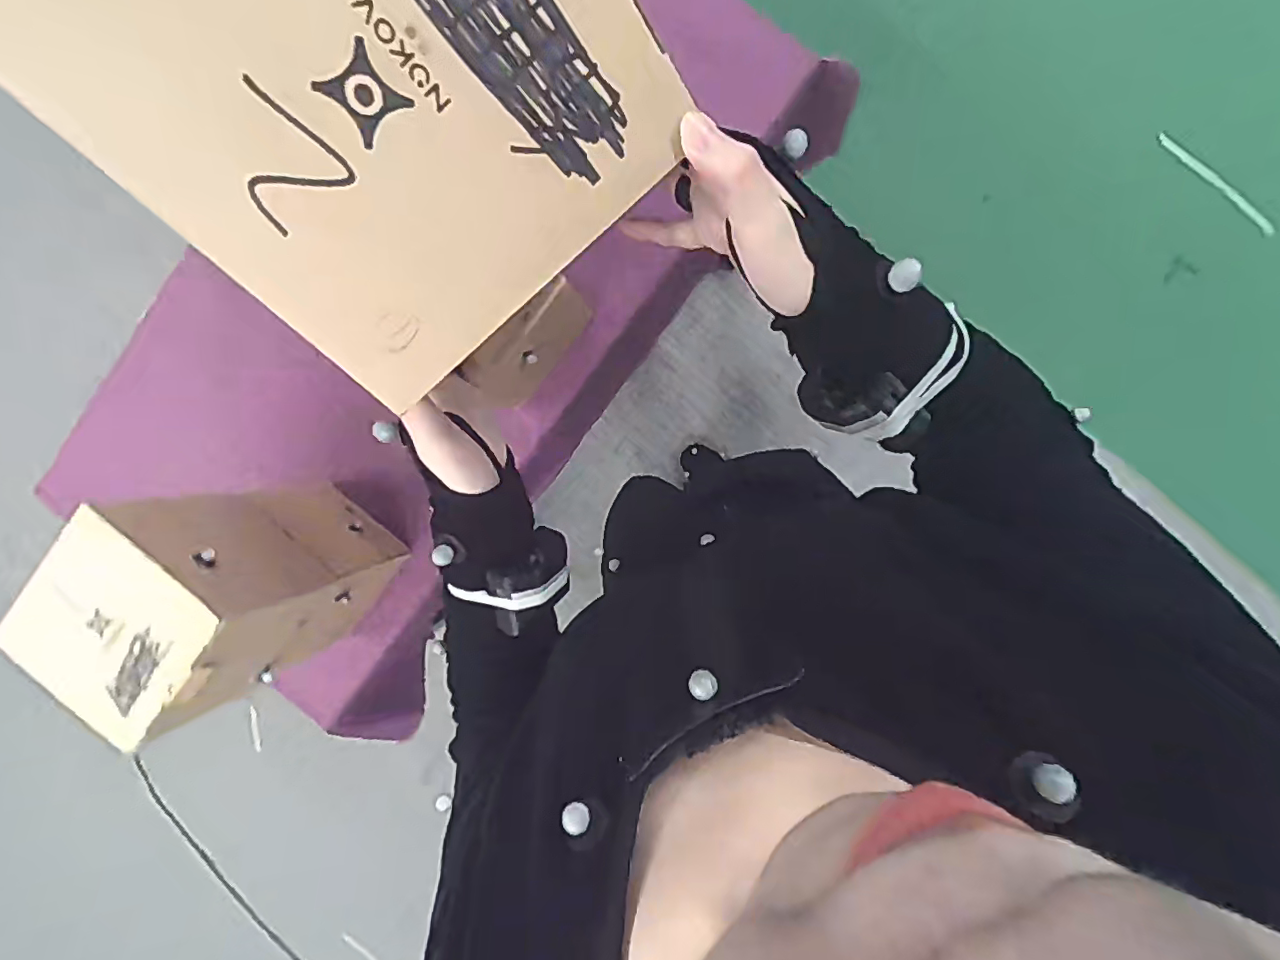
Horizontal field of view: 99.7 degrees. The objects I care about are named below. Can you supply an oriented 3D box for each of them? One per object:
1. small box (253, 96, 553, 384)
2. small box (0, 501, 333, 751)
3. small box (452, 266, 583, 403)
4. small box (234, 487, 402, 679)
[{"bbox_3d":[-0.211,-0.210,0.534,0.179,0.176,0.168,38,95,2],"label":"small box"},{"bbox_3d":[-0.480,0.134,0.577,0.179,0.176,0.168,38,95,3],"label":"small box"},{"bbox_3d":[-0.193,-0.216,0.696,0.168,0.176,0.179,39,96,1],"label":"small box"},{"bbox_3d":[-0.466,0.127,0.741,0.168,0.176,0.179,38,95,2],"label":"small box"}]
